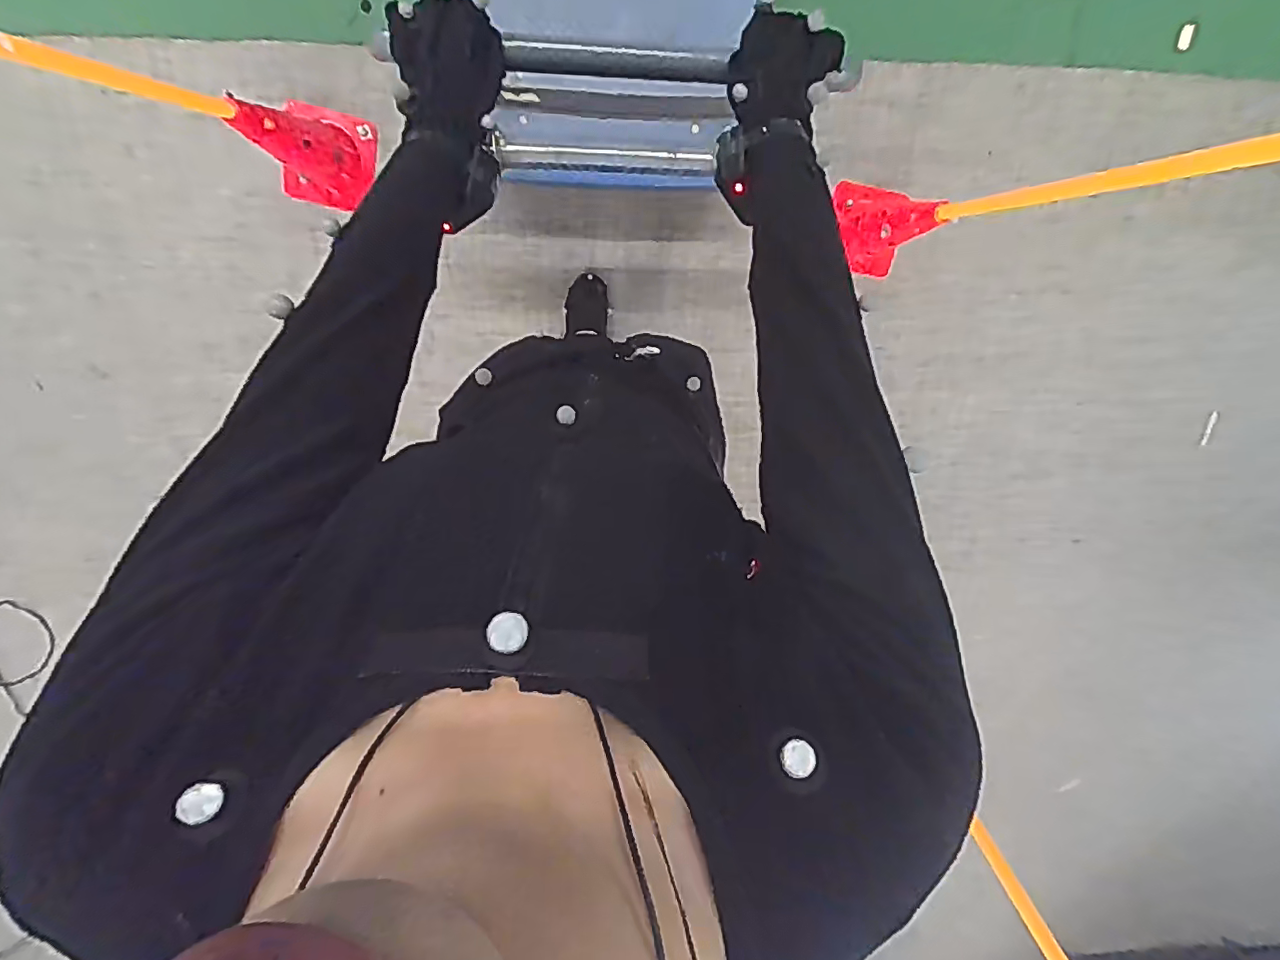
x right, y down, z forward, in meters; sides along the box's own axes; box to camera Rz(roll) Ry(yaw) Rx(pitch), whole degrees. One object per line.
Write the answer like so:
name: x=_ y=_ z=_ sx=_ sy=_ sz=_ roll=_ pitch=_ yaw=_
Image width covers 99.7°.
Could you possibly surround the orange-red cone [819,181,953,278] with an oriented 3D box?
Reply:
orange-red cone: x=0.574 y=-0.569 z=1.197 sx=0.198 sy=0.360 sz=0.199 roll=10 pitch=109 yaw=-6
